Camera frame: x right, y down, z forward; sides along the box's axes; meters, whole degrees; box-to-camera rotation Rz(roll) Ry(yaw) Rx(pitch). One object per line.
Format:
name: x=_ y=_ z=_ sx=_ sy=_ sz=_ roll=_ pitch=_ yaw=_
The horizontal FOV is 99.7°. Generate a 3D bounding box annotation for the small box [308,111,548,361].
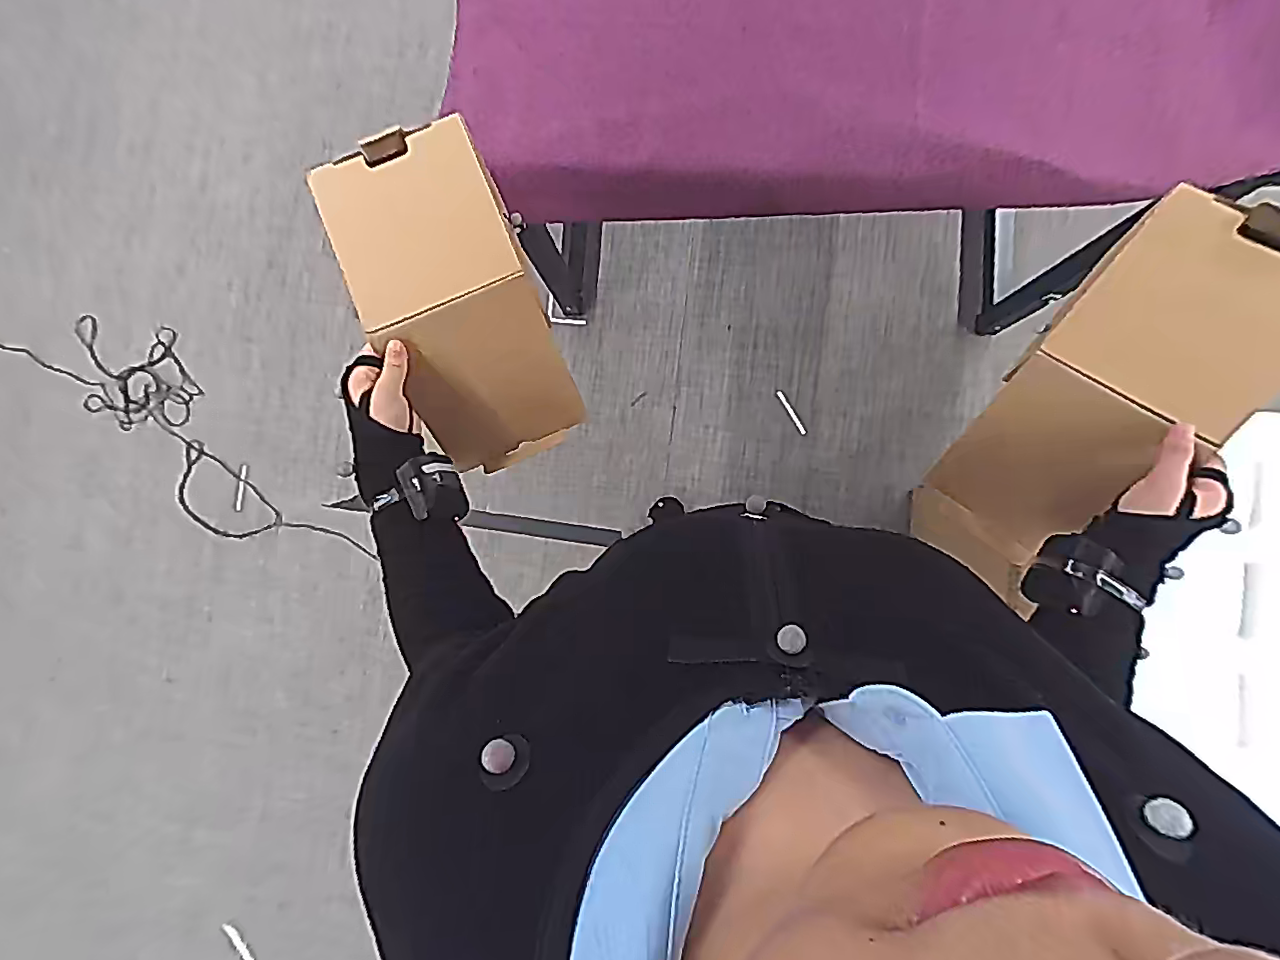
small box: x=-0.217 y=-0.248 z=0.602 sx=0.168 sy=0.176 sz=0.179 roll=-22 pitch=86 yaw=-1
